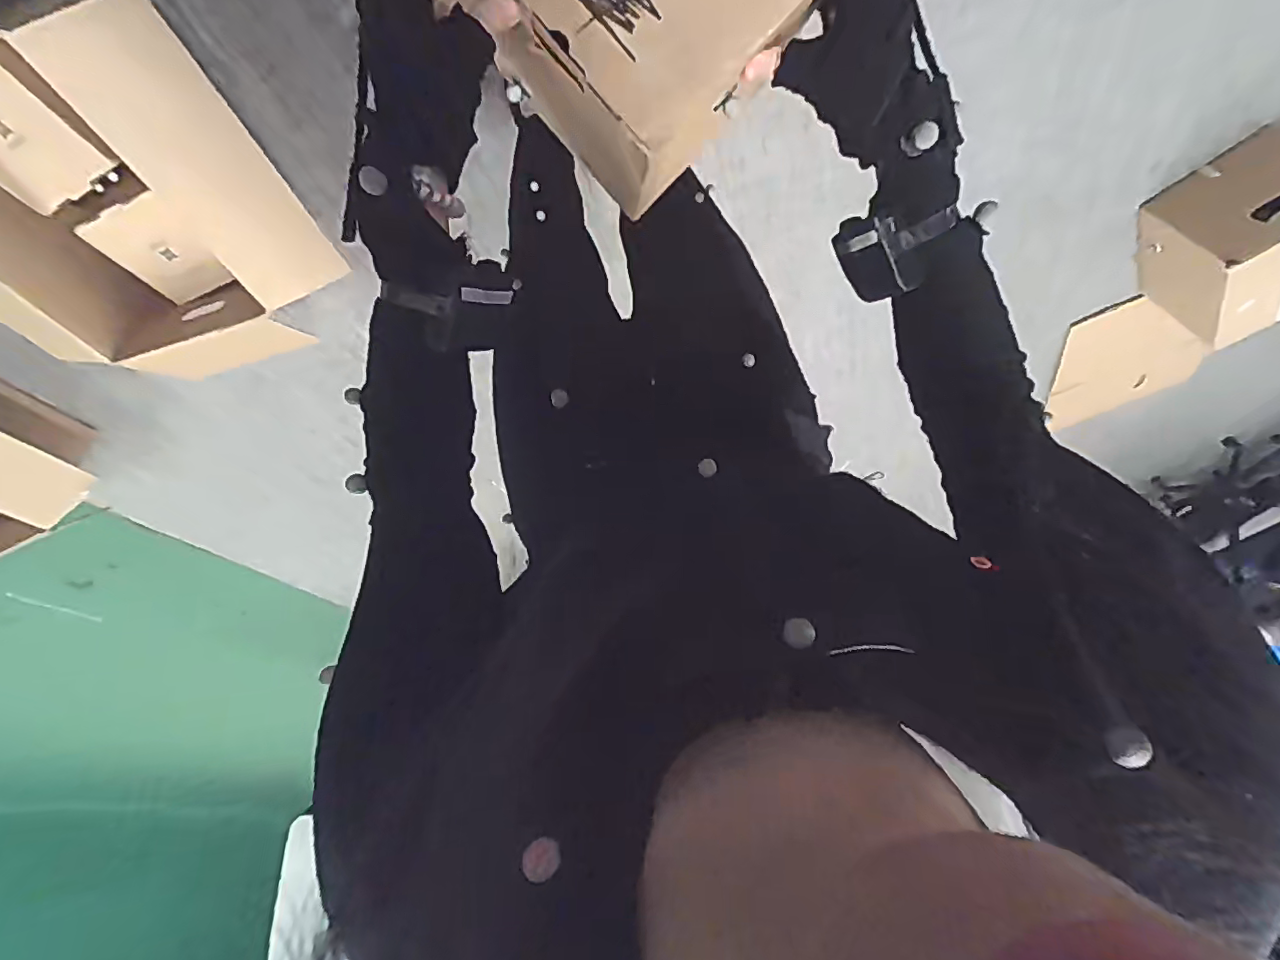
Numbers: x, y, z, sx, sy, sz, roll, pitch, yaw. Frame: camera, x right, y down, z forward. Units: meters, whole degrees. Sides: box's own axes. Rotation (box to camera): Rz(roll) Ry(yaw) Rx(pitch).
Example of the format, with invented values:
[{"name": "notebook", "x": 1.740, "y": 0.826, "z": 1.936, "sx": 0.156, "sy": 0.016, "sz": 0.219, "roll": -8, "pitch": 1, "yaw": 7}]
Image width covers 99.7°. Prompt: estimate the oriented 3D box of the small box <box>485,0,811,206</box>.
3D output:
[{"name": "small box", "x": 0.005, "y": -0.337, "z": 0.393, "sx": 0.179, "sy": 0.176, "sz": 0.168, "roll": -44, "pitch": 105, "yaw": 7}]
